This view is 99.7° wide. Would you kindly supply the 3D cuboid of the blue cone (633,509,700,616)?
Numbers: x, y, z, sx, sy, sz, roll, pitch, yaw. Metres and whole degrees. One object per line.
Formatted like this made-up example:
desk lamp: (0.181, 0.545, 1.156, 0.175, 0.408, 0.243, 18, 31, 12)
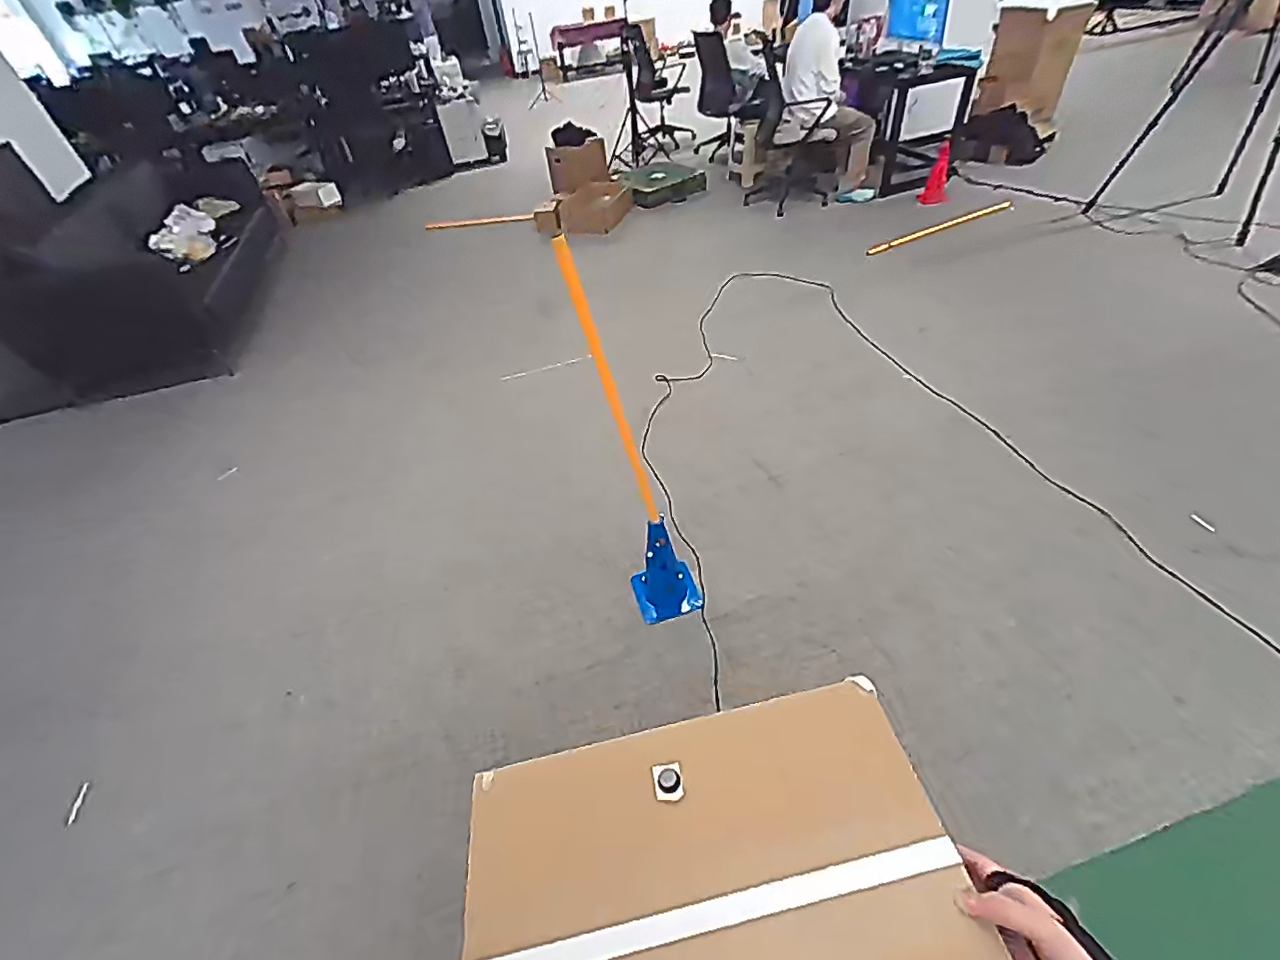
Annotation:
blue cone: (0.063, 0.232, 1.645, 0.193, 0.380, 0.192, -19, 45, -8)
